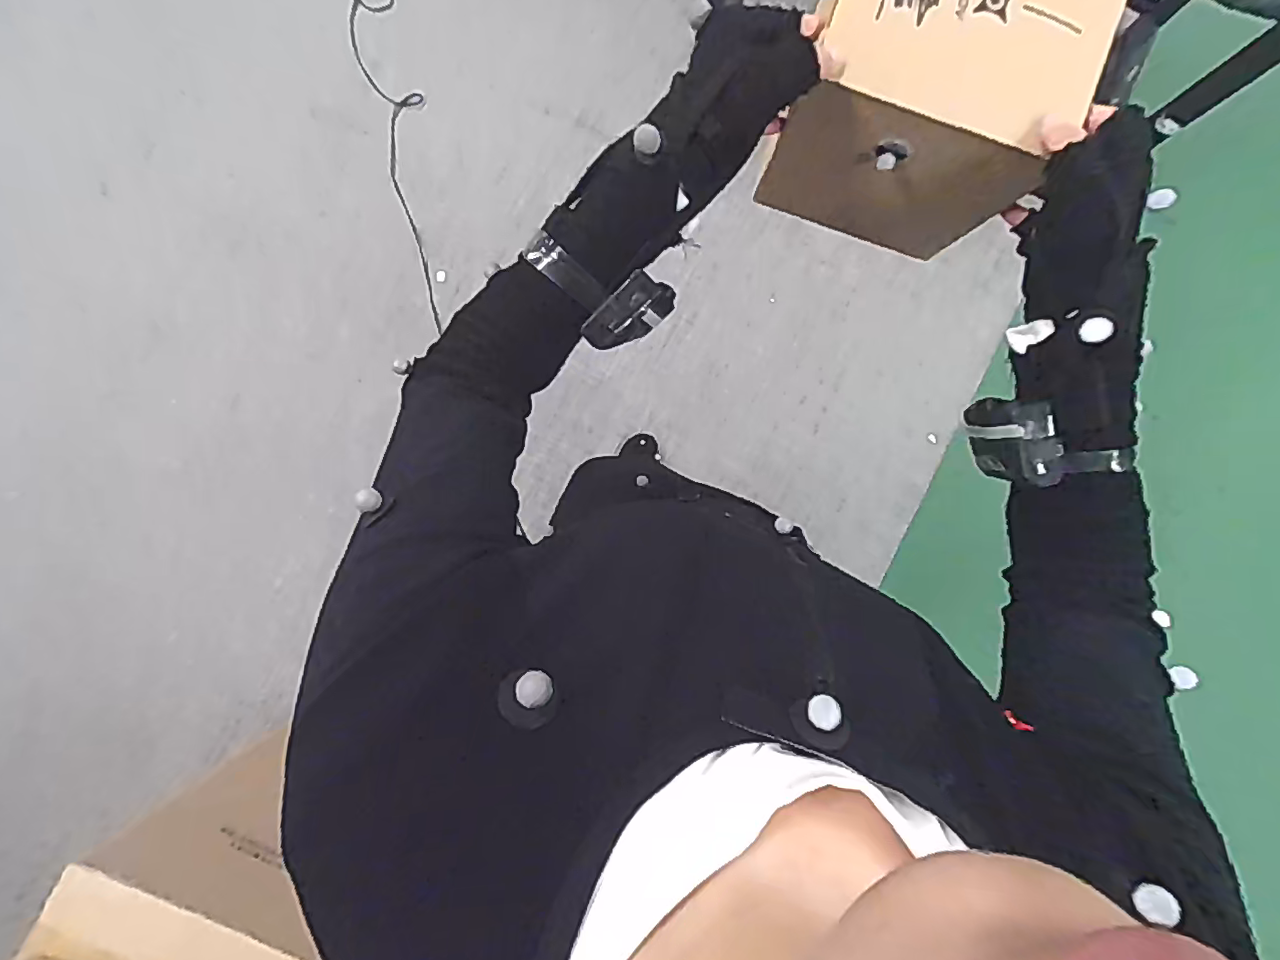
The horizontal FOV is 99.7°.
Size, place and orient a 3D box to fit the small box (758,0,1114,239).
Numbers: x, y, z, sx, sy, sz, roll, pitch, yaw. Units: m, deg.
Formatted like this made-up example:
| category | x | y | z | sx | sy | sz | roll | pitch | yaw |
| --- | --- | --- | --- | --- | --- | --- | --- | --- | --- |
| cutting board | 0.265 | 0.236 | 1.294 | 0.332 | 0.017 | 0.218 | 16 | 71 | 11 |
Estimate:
| category | x | y | z | sx | sy | sz | roll | pitch | yaw |
| --- | --- | --- | --- | --- | --- | --- | --- | --- | --- |
| small box | 0.208 | -0.314 | 0.416 | 0.179 | 0.176 | 0.168 | 18 | 92 | -2 |
